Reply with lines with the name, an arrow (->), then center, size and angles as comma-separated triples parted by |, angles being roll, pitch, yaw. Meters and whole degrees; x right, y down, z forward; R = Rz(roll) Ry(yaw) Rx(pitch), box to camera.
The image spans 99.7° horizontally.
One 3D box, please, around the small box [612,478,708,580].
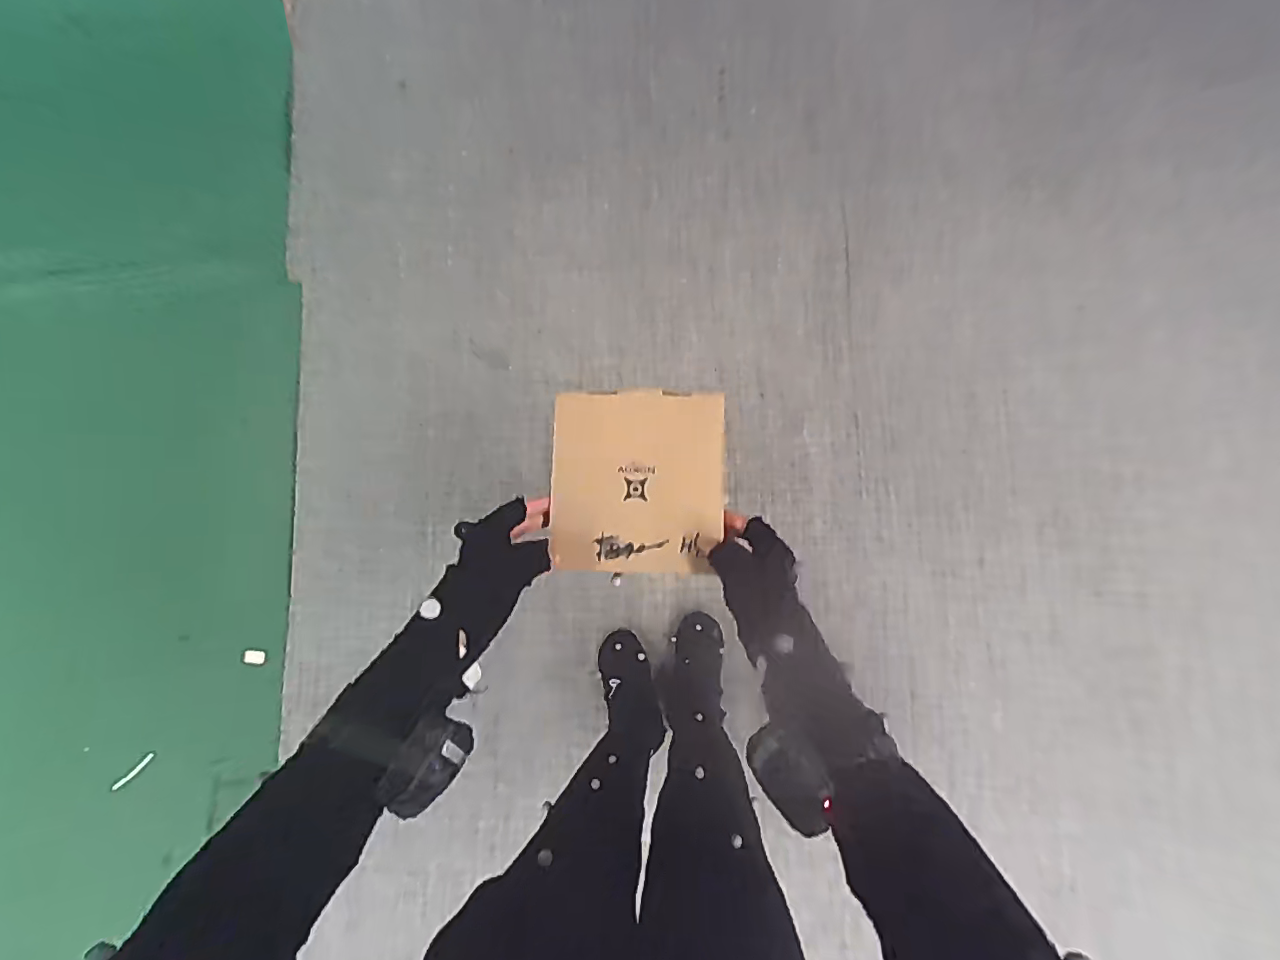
small box -> 0.039, 0.094, 1.009 | 0.168, 0.176, 0.179 | -1, 84, 4
